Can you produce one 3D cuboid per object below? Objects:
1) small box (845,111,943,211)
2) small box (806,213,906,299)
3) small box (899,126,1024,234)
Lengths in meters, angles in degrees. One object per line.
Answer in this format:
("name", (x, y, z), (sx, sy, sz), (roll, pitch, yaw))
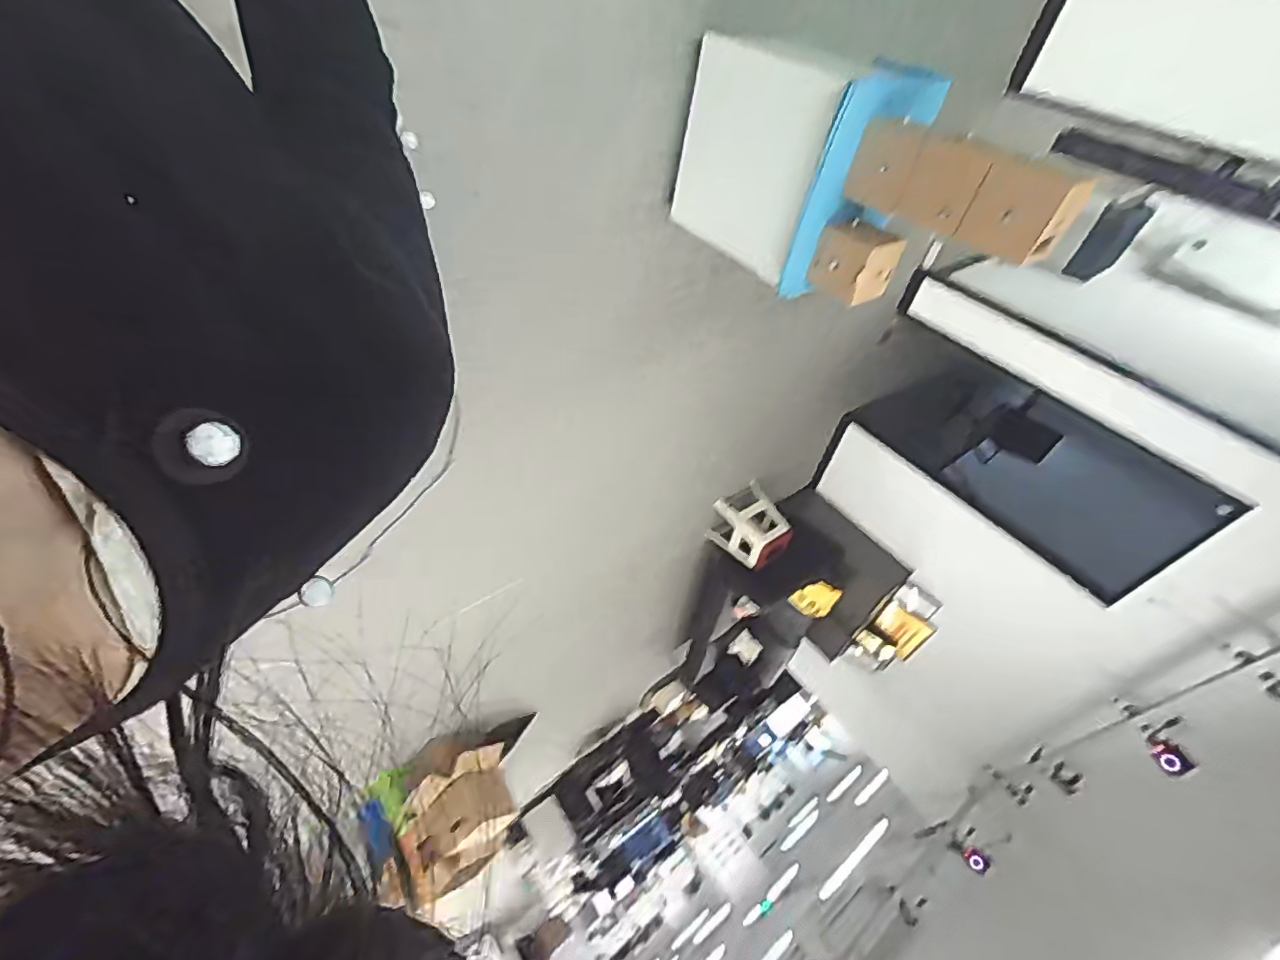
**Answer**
("small box", (0.657, -0.819, 1.384), (0.168, 0.176, 0.179), (-26, 146, -30))
("small box", (0.610, -0.645, 1.549), (0.179, 0.176, 0.168), (-25, 146, -30))
("small box", (0.758, -0.722, 1.297), (0.168, 0.176, 0.179), (-26, 146, -30))
